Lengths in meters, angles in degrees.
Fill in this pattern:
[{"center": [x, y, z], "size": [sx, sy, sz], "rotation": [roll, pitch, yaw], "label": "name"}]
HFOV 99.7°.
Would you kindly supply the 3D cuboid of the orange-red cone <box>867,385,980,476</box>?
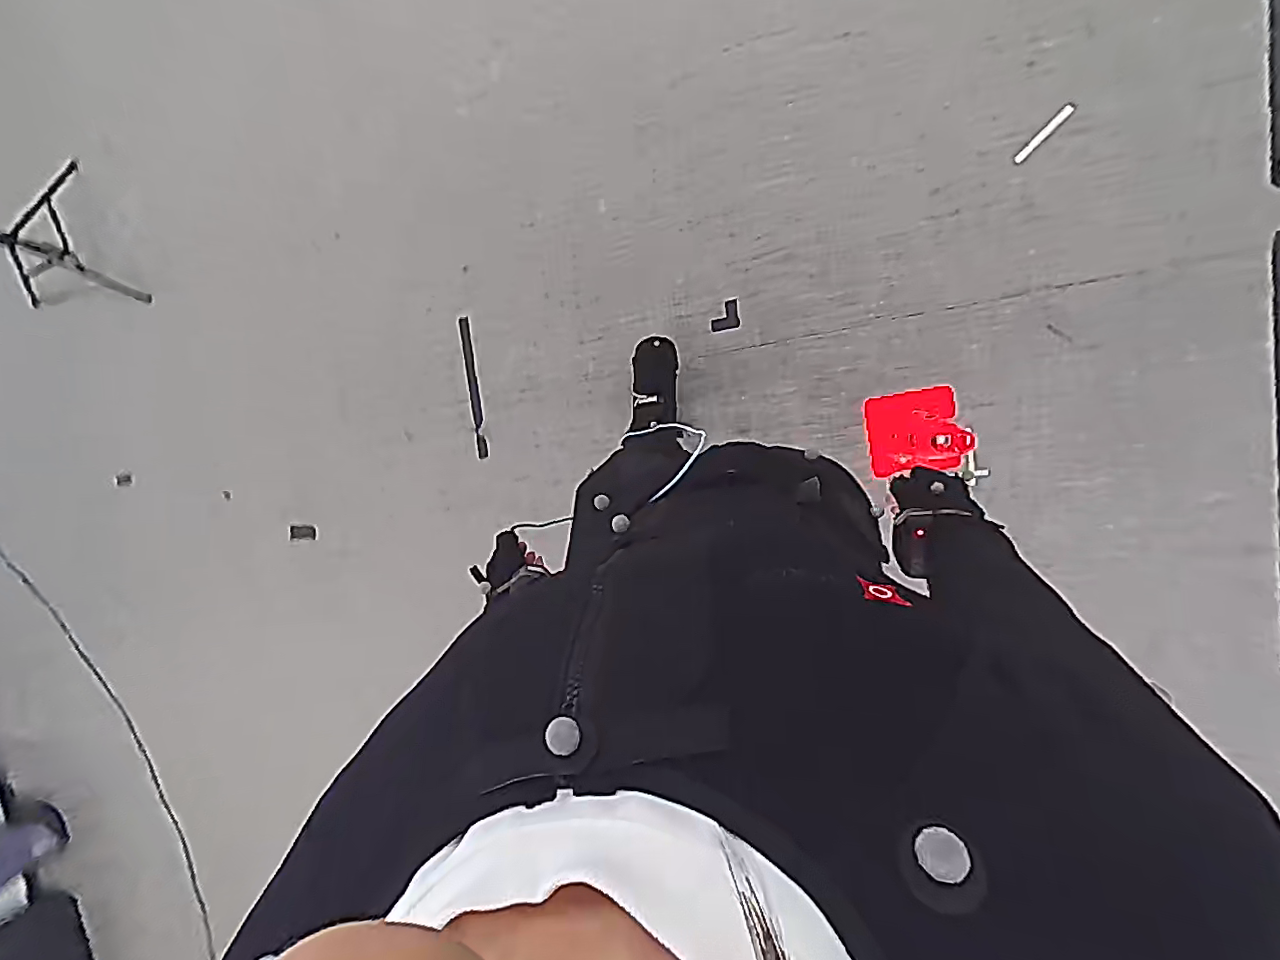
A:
[{"center": [0.609, -0.094, 1.110], "size": [0.198, 0.360, 0.199], "rotation": [-8, 94, 14], "label": "orange-red cone"}]
